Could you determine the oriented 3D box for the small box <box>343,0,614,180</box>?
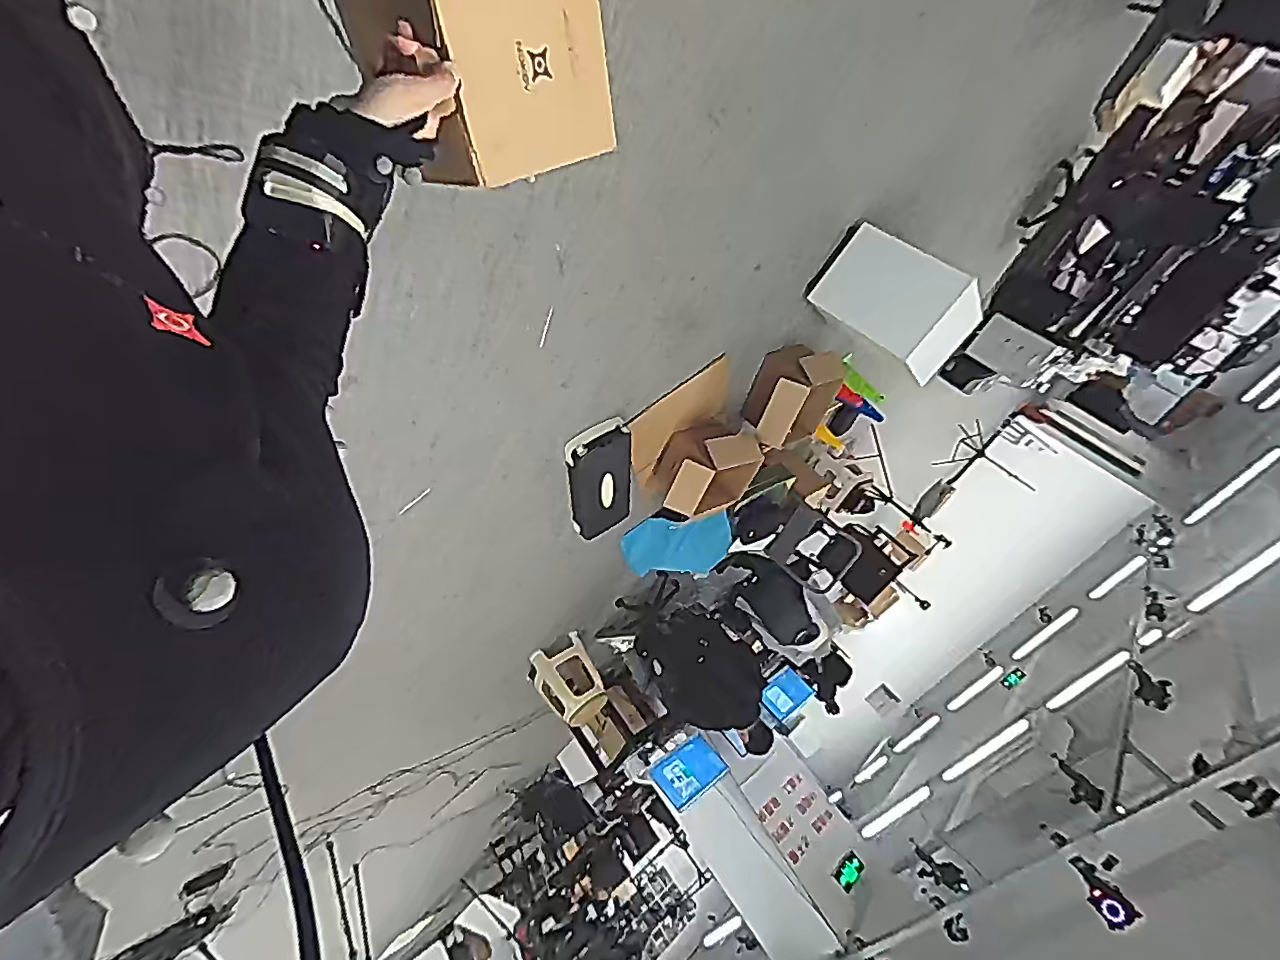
[{"bbox_3d":[-0.154,-0.404,0.522,0.179,0.176,0.168,-40,140,-31],"label":"small box"}]
